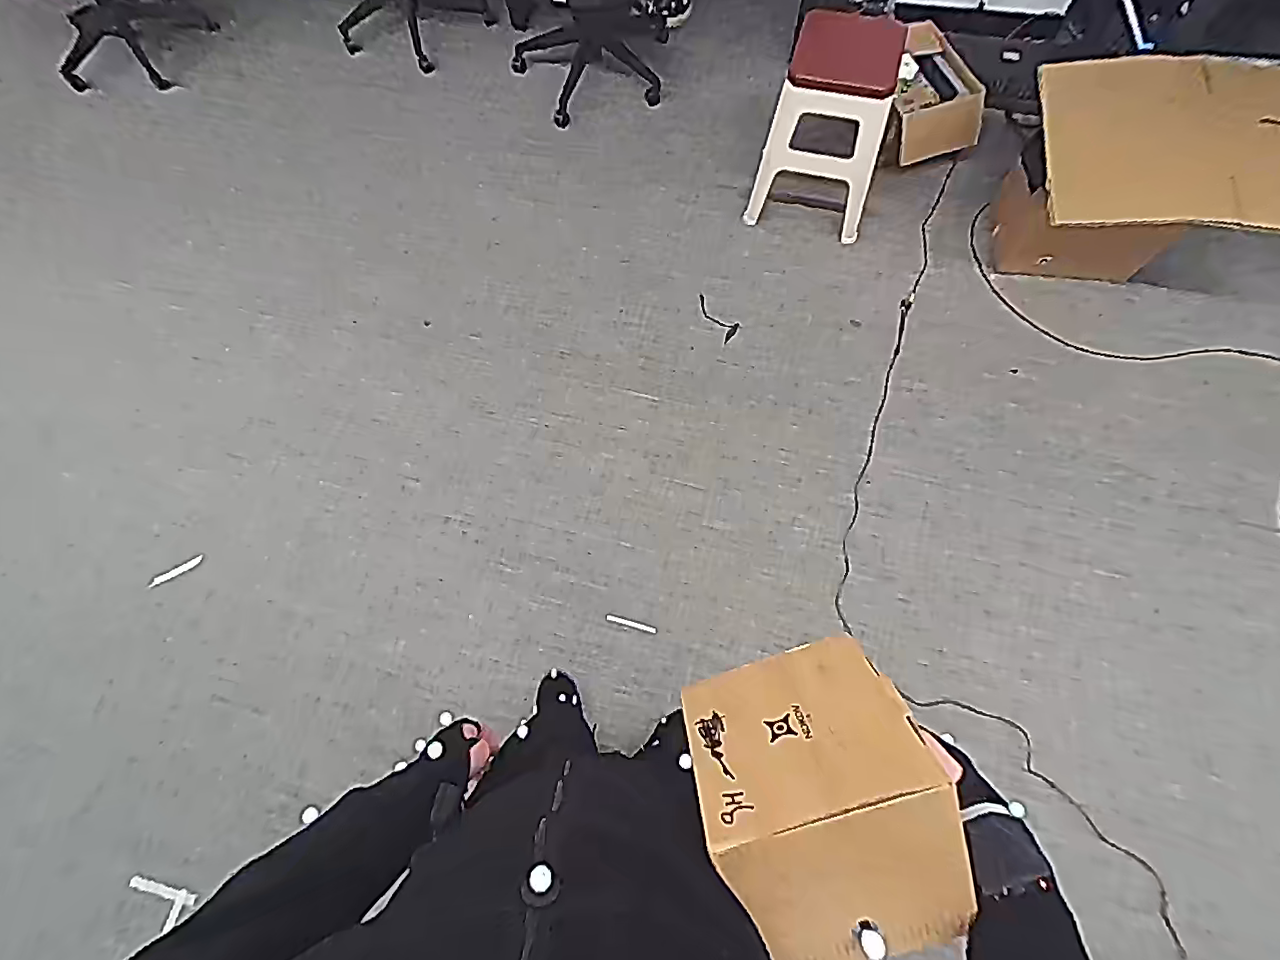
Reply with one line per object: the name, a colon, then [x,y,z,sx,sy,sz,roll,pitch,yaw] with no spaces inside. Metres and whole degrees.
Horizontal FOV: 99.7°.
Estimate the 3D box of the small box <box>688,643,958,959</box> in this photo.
small box: [0.158,0.286,0.488,0.179,0.168,0.176,-19,109,3]
